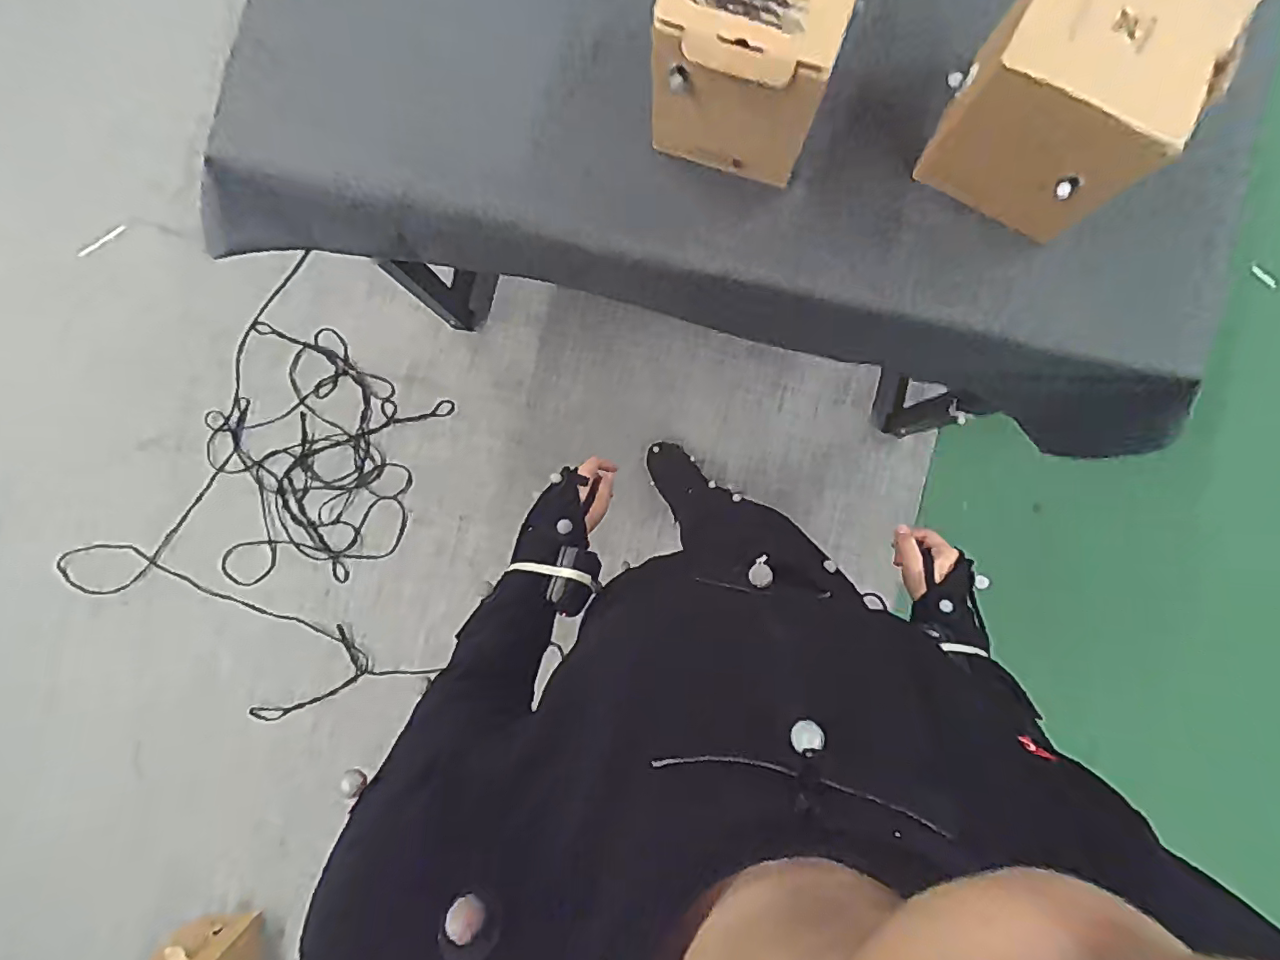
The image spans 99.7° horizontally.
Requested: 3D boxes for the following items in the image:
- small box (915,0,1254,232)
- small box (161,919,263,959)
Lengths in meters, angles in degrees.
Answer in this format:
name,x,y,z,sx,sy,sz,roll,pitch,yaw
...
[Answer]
name,x,y,z,sx,sy,sz,roll,pitch,yaw
small box,0.429,-0.389,0.555,0.179,0.176,0.168,28,87,3
small box,-1.014,1.181,1.261,0.168,0.176,0.179,-6,87,1
